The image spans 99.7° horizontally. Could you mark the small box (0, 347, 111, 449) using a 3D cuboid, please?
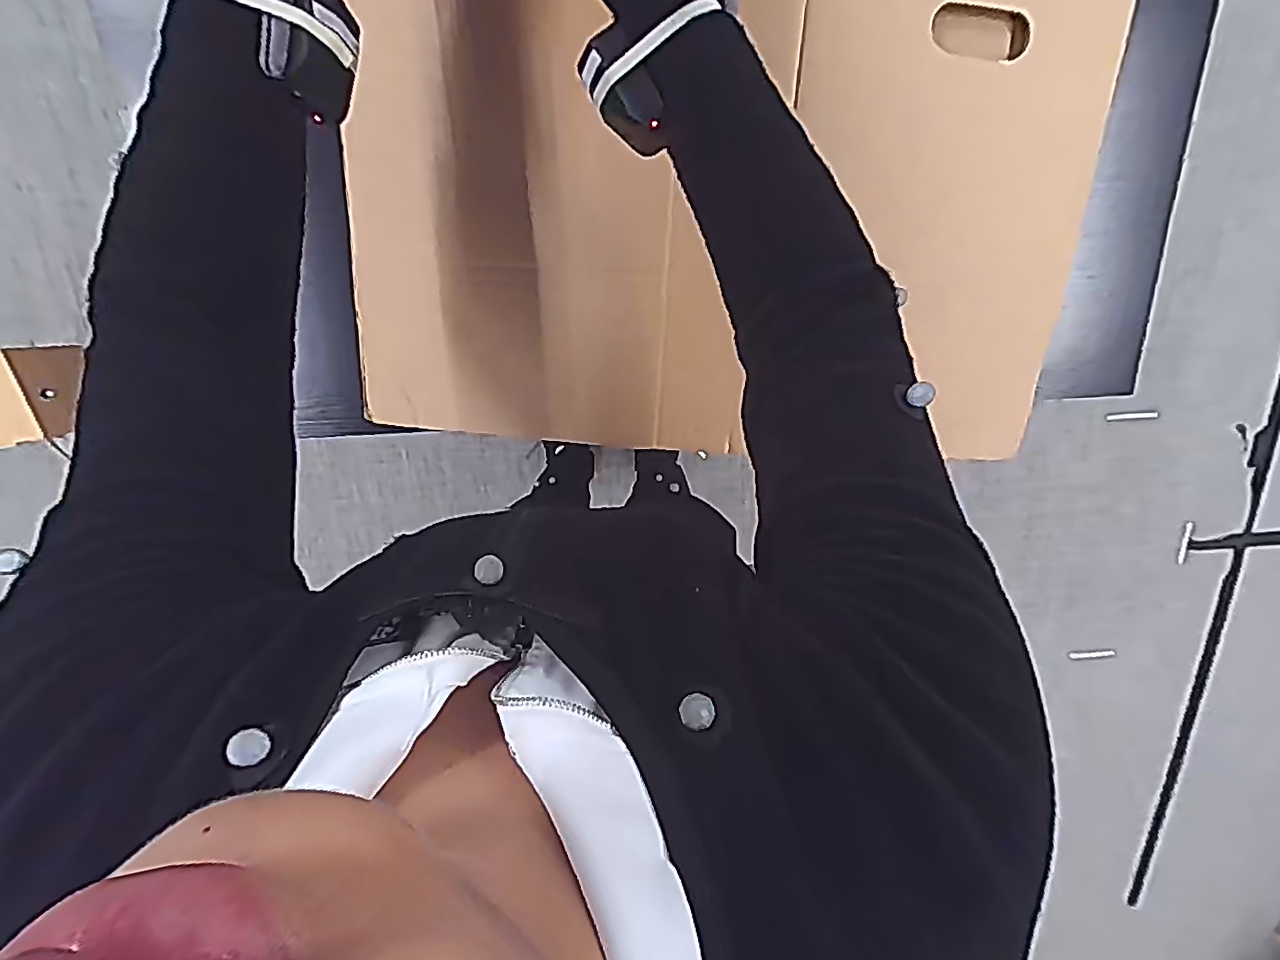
[{"bbox_3d":[-1.237,-0.164,1.084,0.168,0.176,0.179,-11,106,-2],"label":"small box"}]
